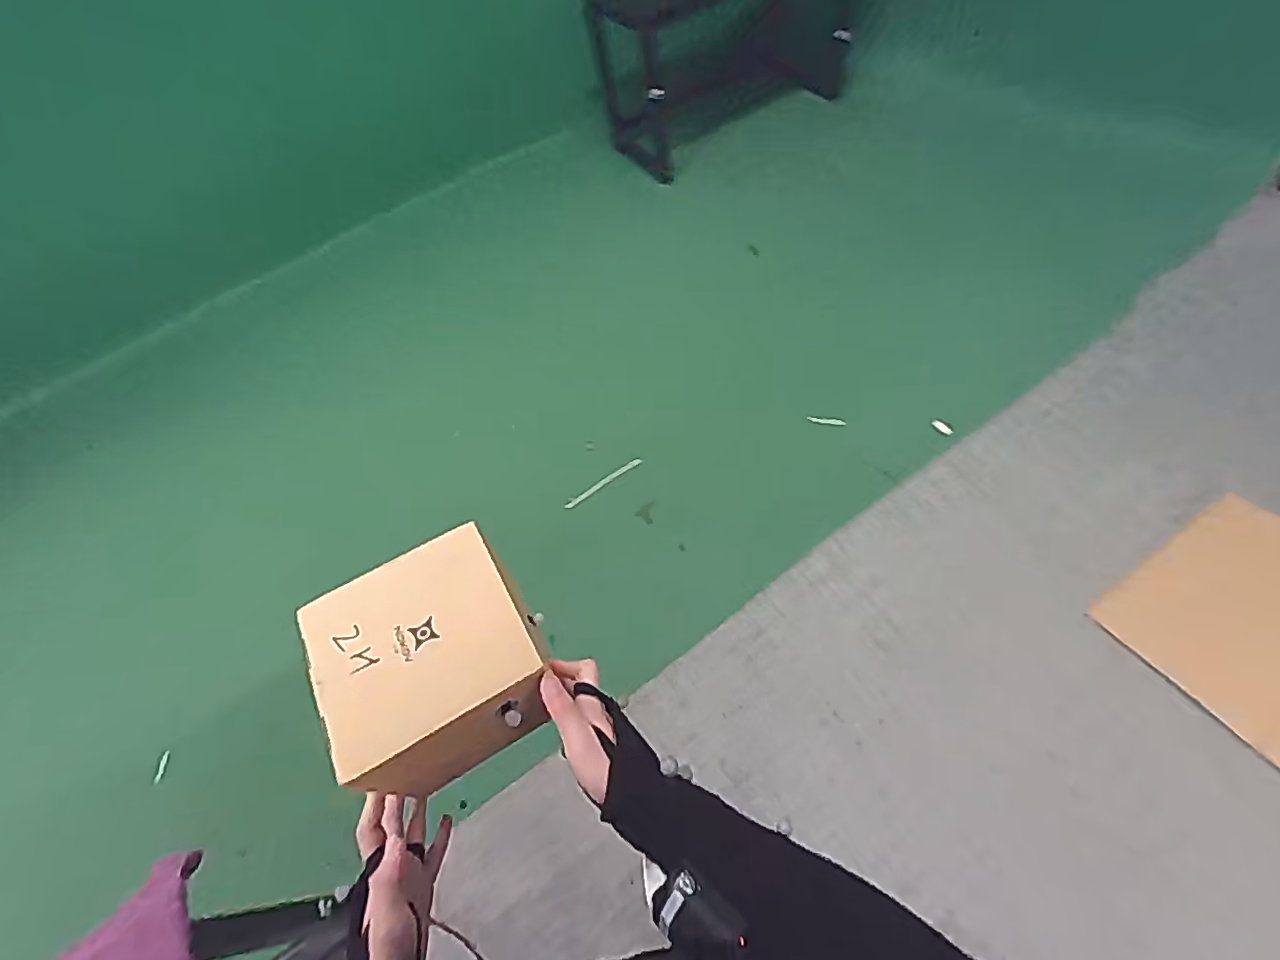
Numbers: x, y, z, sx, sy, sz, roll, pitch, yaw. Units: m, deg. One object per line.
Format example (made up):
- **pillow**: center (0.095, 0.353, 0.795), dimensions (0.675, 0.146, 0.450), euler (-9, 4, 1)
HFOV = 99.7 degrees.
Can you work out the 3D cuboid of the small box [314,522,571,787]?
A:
- **small box**: center (-0.179, 0.176, 0.537), dimensions (0.179, 0.176, 0.168), euler (-27, 59, -12)
